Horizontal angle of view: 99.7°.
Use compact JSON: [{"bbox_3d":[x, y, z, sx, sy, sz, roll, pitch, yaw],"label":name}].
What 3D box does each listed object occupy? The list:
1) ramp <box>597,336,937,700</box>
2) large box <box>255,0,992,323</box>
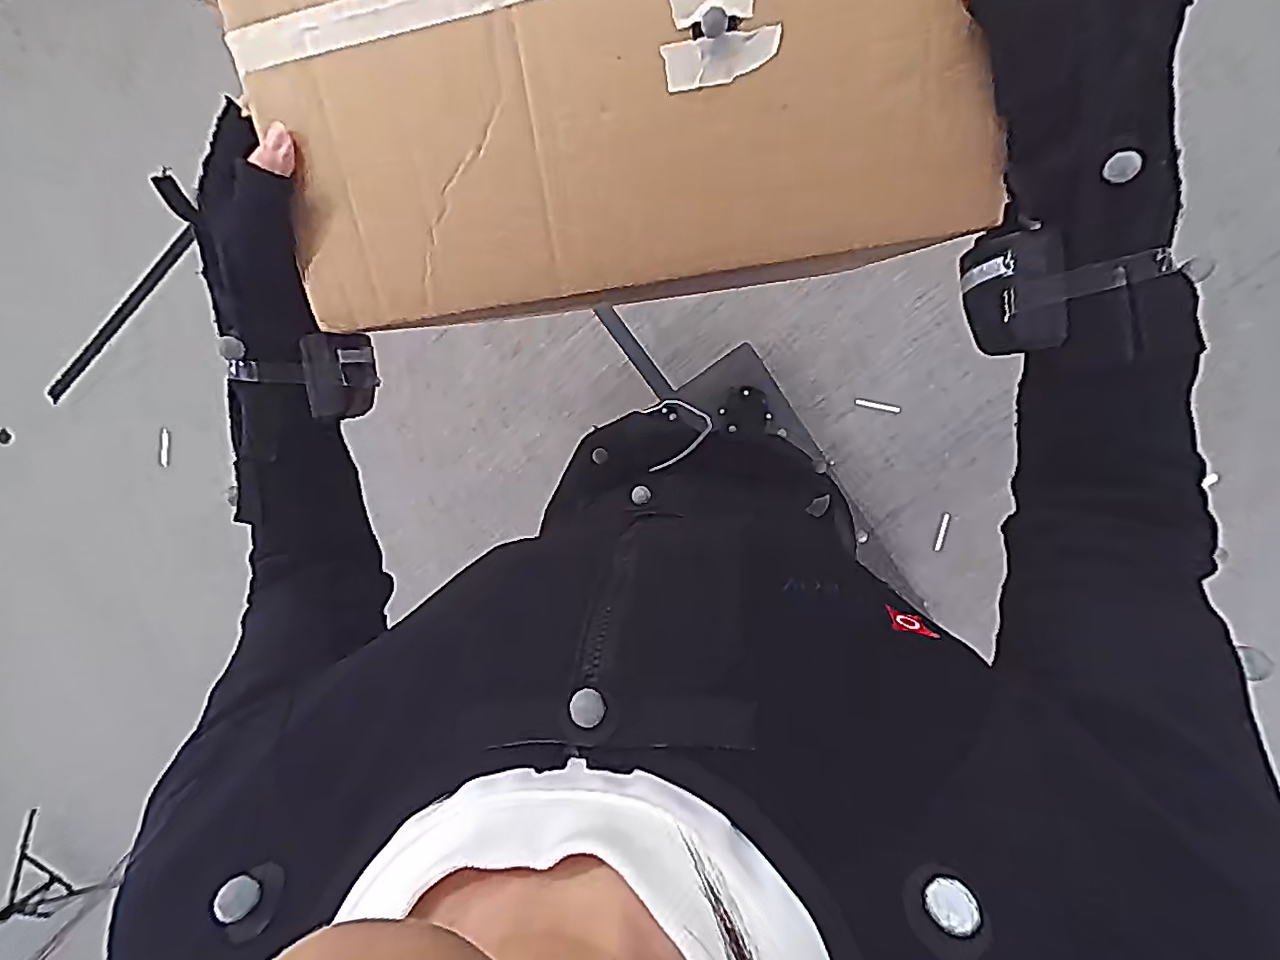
[{"bbox_3d":[0.370,0.153,1.498,0.509,0.206,0.991,-37,92,12],"label":"ramp"},{"bbox_3d":[-0.007,-0.316,0.428,0.408,0.320,0.320,-6,108,10],"label":"large box"}]
